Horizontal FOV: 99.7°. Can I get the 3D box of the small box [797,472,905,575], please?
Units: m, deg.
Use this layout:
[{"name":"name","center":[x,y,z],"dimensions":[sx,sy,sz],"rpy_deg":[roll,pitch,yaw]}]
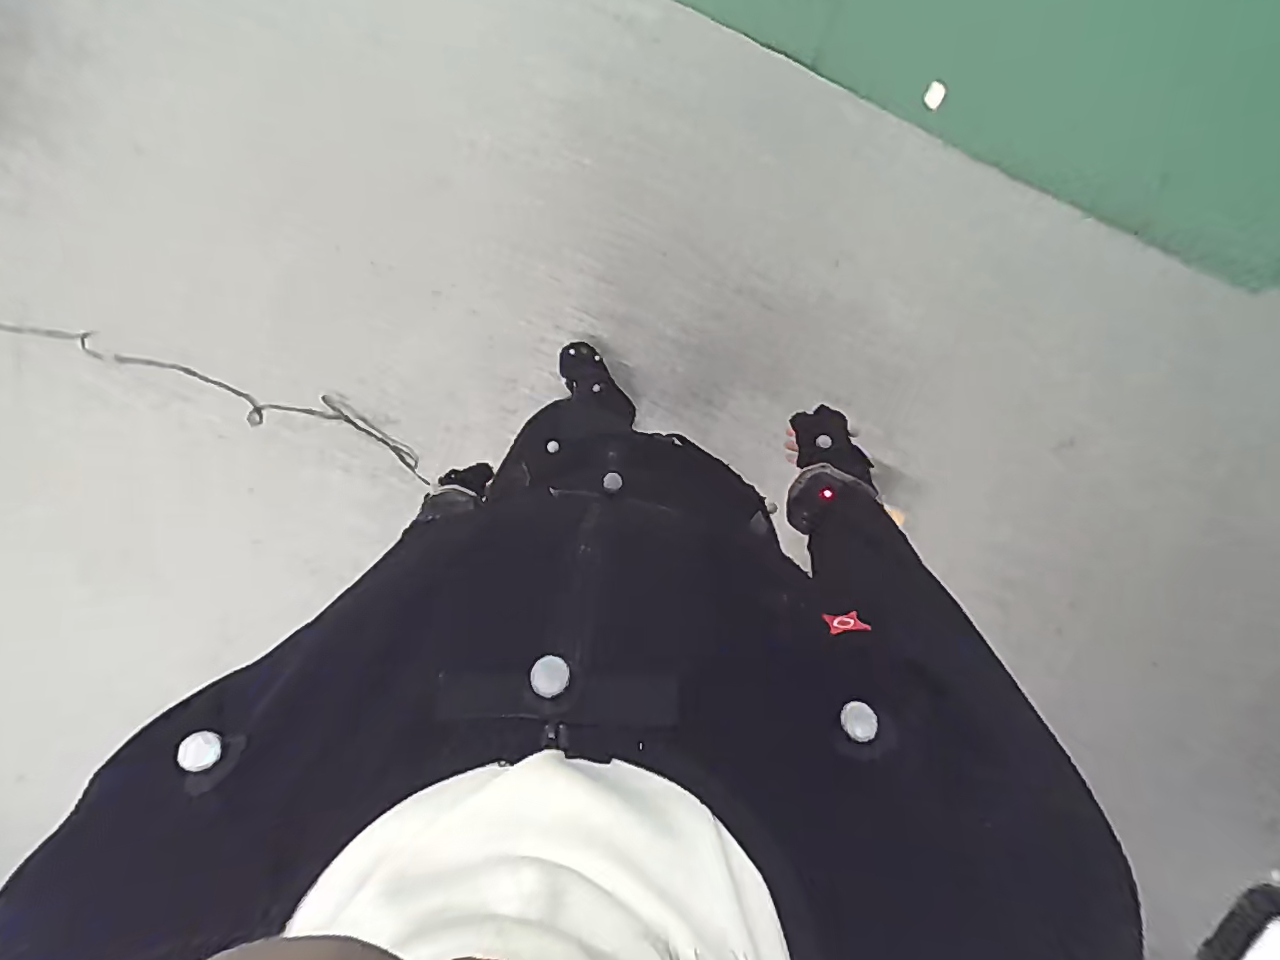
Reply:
[{"name":"small box","center":[0.512,0.101,1.345],"dimensions":[0.168,0.176,0.179],"rpy_deg":[30,100,-3]}]
